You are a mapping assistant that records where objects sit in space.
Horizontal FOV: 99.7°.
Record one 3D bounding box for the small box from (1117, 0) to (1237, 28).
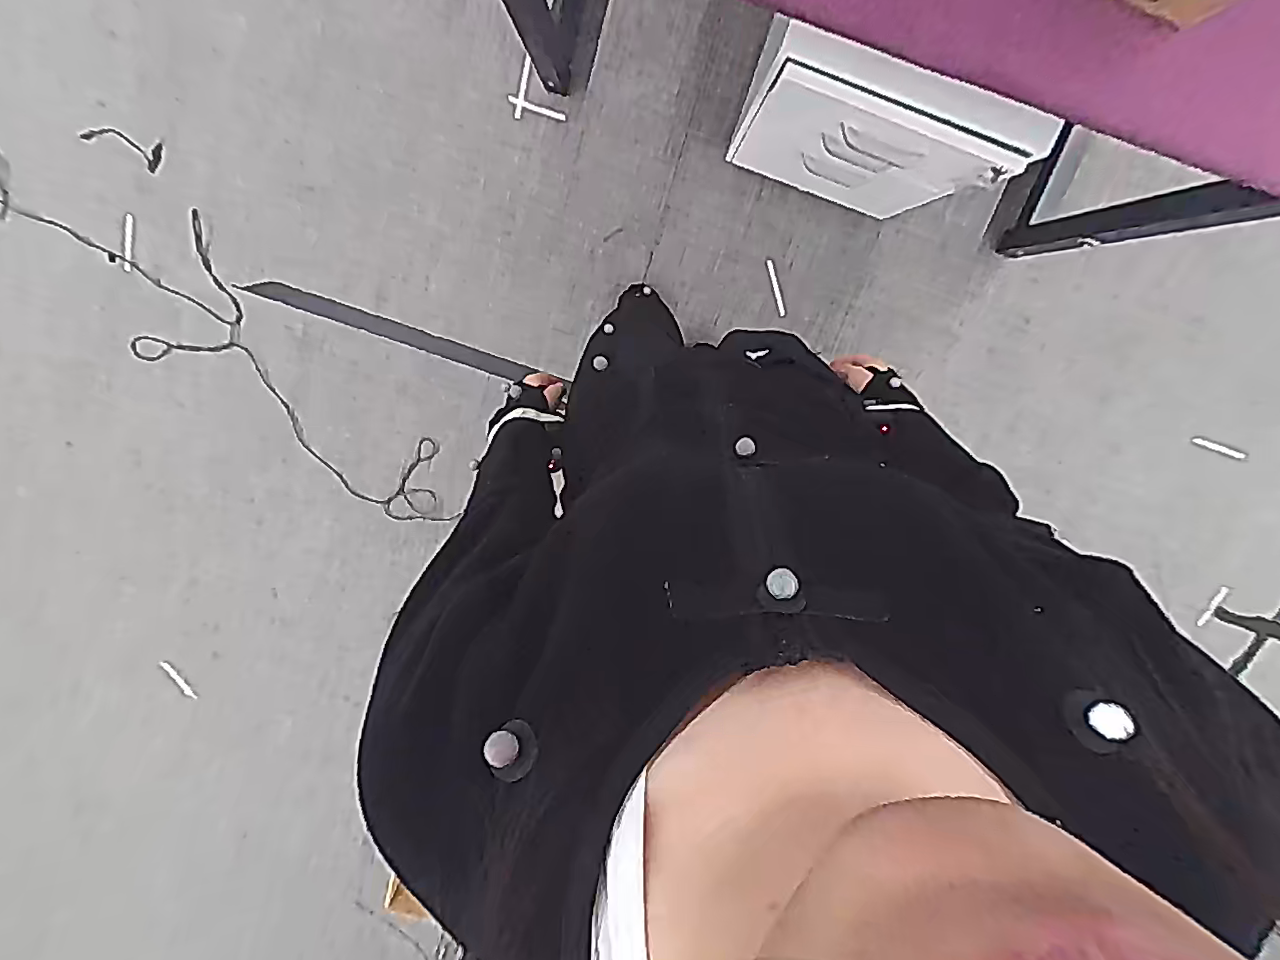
[{"bbox_3d":[0.536,-0.562,0.472,0.168,0.176,0.179,21,106,-4],"label":"small box"}]
